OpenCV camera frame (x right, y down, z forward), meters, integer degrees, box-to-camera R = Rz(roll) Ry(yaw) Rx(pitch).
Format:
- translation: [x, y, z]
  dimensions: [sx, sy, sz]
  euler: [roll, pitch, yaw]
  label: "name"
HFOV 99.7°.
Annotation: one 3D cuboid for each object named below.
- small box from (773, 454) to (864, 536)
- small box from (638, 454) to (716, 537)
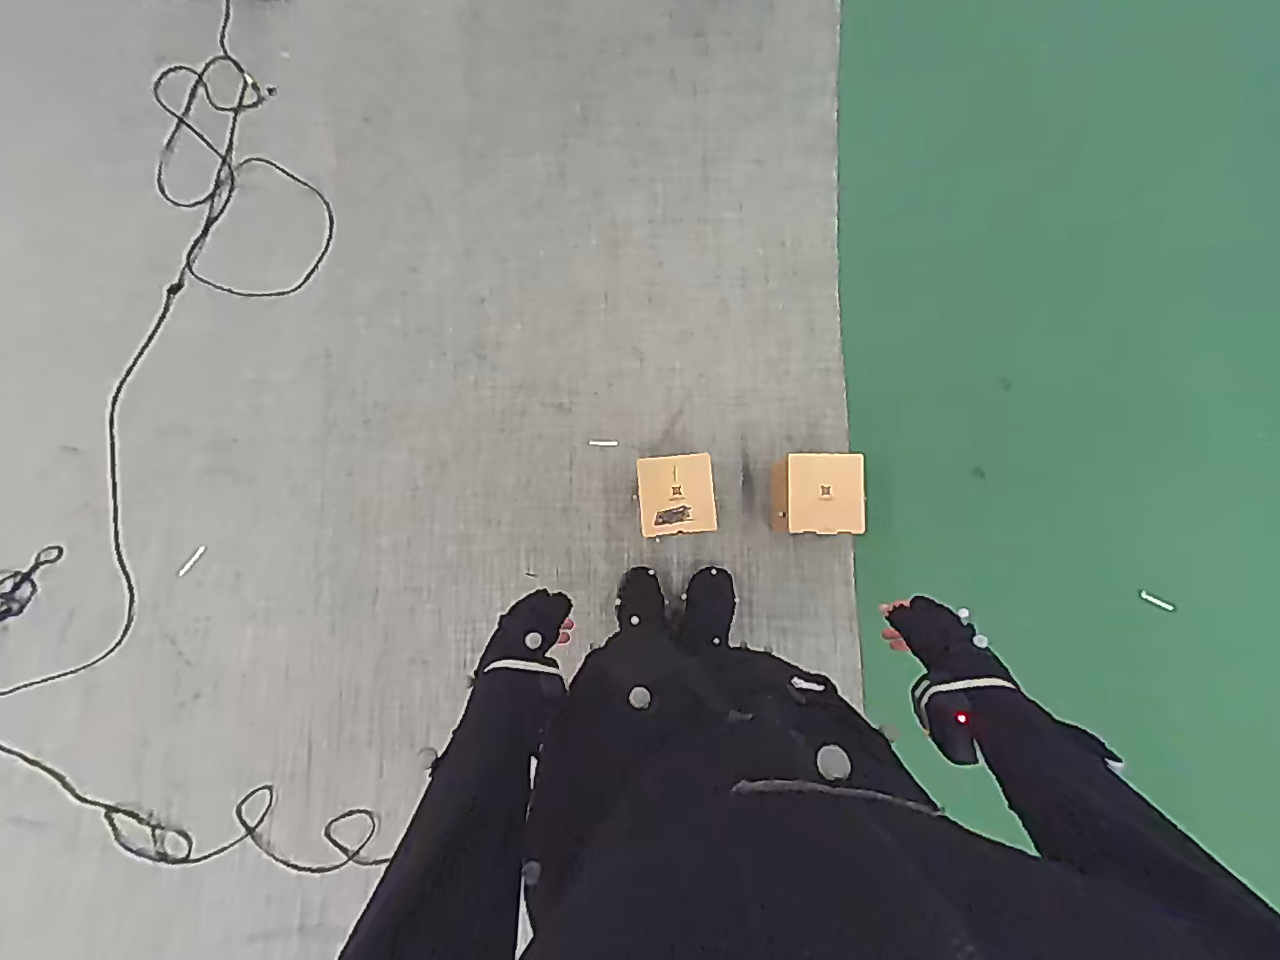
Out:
- translation: [0.409, 0.040, 1.263]
  dimensions: [0.168, 0.176, 0.179]
  euler: [1, 84, 3]
  label: "small box"
- translation: [0.085, 0.041, 1.273]
  dimensions: [0.168, 0.176, 0.179]
  euler: [-5, 83, 1]
  label: "small box"
